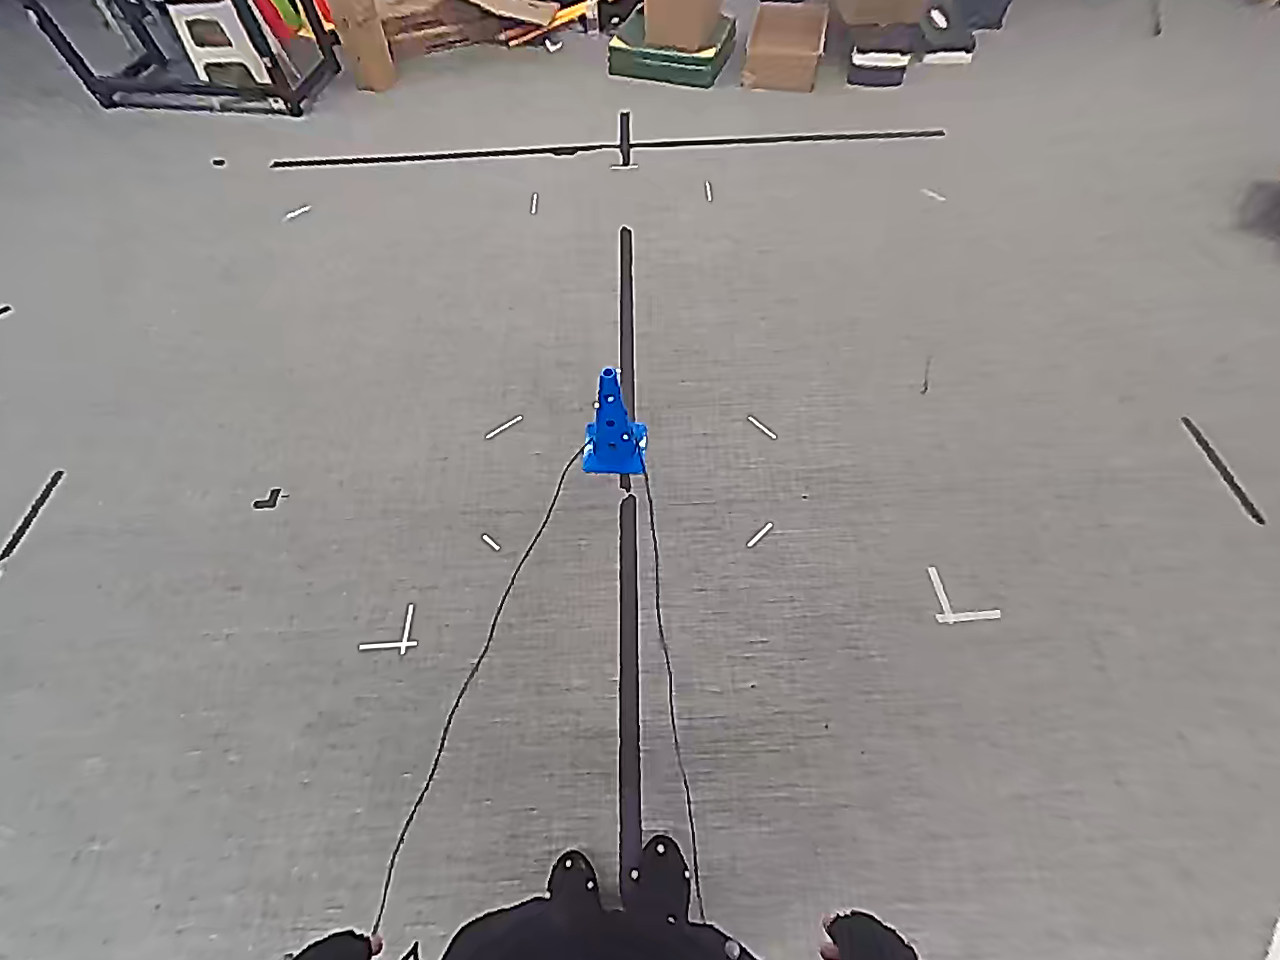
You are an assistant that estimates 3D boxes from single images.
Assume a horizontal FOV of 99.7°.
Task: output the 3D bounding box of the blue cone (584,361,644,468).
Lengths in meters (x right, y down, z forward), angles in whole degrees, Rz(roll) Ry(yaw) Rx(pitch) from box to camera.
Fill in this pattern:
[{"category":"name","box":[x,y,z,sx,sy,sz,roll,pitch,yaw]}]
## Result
[{"category":"blue cone","box":[-0.088,-0.201,1.593,0.193,0.380,0.192,0,59,2]}]
